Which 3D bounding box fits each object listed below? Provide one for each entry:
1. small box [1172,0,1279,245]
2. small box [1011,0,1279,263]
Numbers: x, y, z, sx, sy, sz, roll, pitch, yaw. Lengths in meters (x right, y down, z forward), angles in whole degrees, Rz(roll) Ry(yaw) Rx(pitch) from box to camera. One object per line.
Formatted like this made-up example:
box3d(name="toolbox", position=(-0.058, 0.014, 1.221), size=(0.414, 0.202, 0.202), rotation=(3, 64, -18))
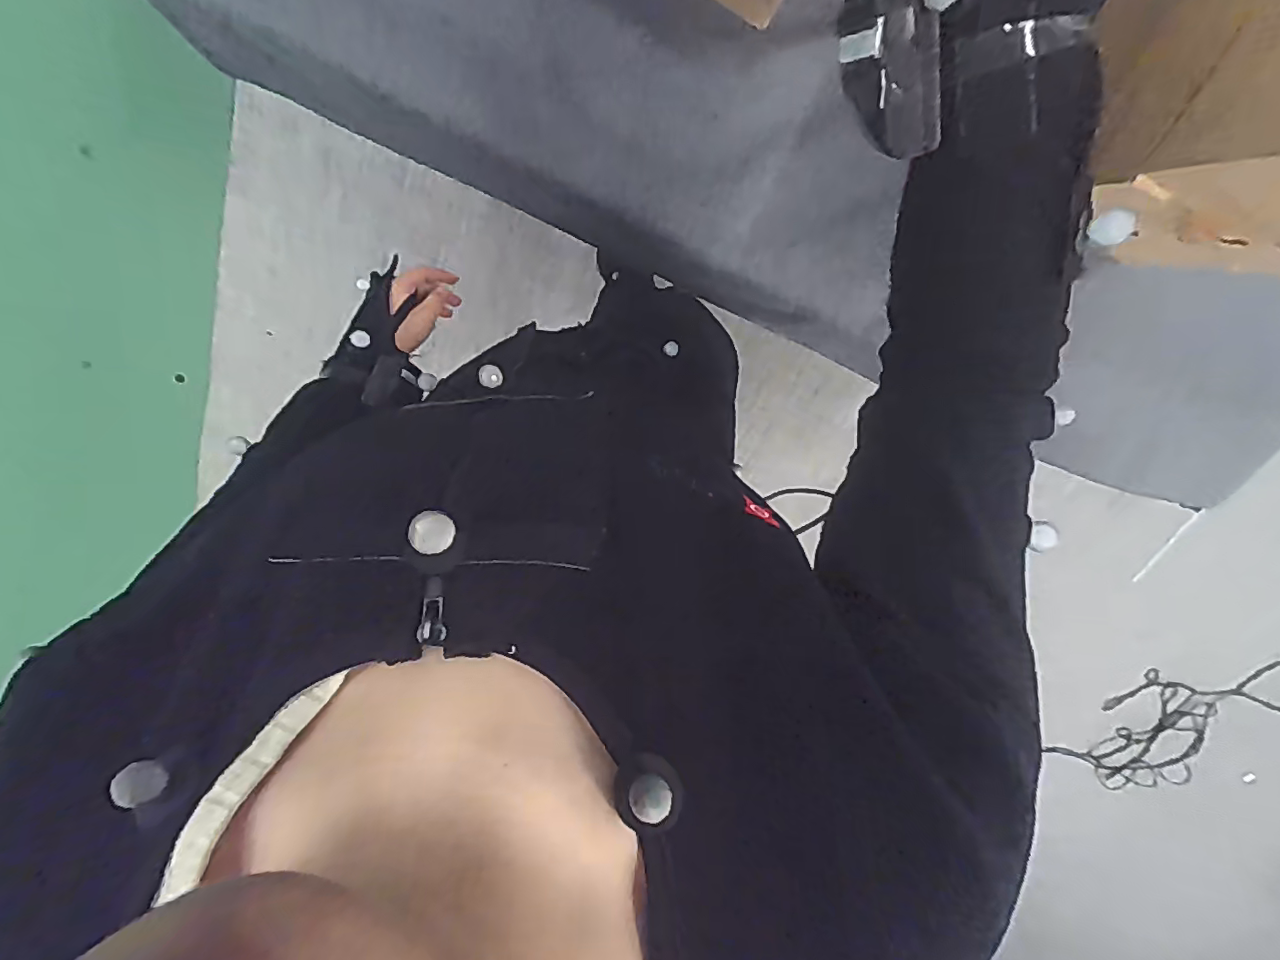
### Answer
box3d(name="small box", position=(0.434, -0.215, 0.263), size=(0.168, 0.176, 0.179), rotation=(22, 113, -10))
box3d(name="small box", position=(0.432, -0.286, 0.410), size=(0.168, 0.176, 0.179), rotation=(20, 114, -8))
